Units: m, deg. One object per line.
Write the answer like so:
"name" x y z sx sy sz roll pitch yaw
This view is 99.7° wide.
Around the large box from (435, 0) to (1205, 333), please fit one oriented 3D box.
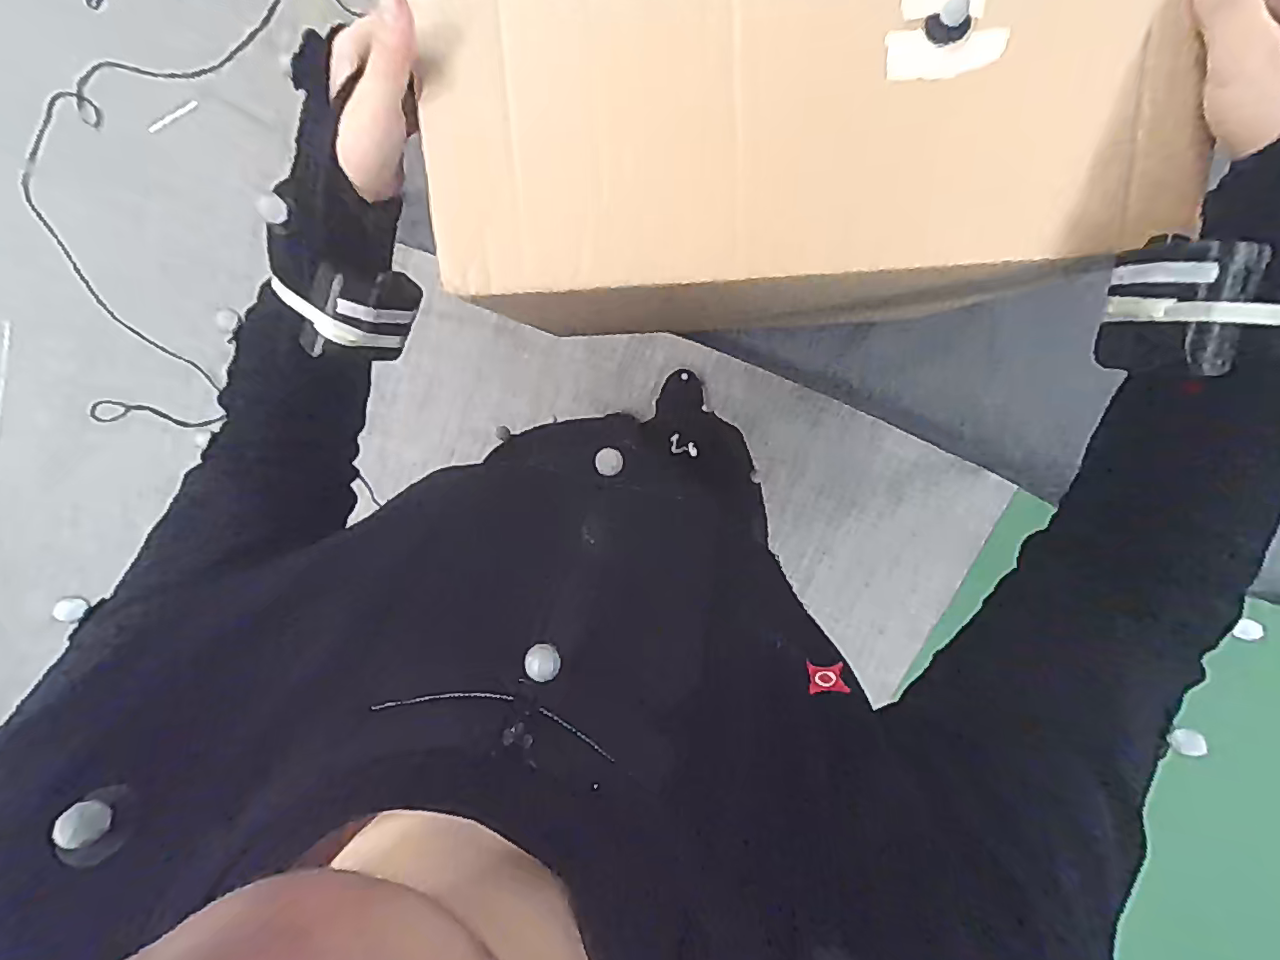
"large box" 0.090 -0.300 0.424 0.408 0.320 0.320 -3 101 2
